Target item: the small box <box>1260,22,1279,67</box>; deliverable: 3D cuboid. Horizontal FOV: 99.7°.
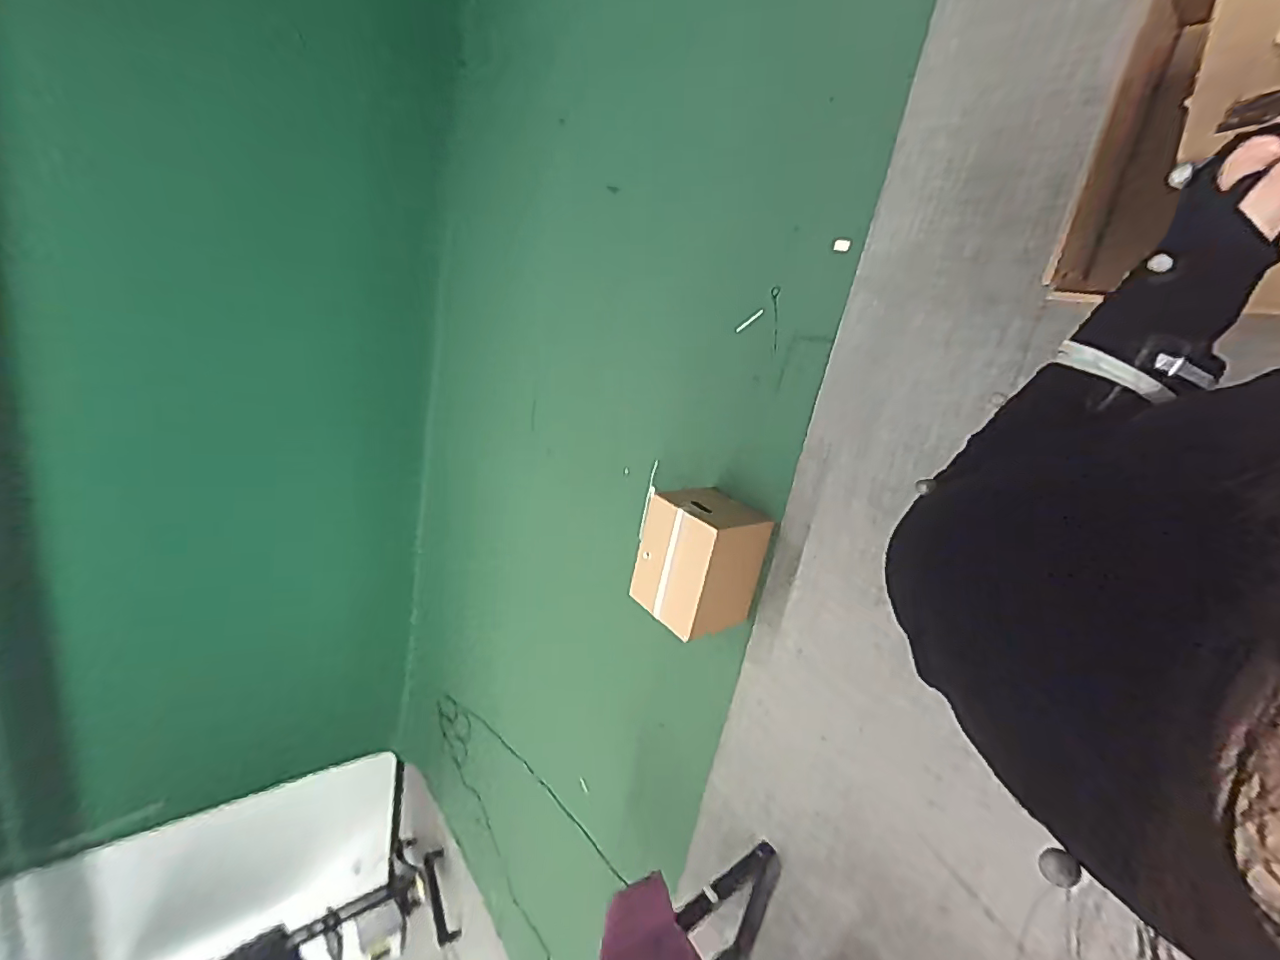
[{"bbox_3d":[0.533,-0.298,0.300,0.168,0.176,0.179,53,140,28],"label":"small box"}]
